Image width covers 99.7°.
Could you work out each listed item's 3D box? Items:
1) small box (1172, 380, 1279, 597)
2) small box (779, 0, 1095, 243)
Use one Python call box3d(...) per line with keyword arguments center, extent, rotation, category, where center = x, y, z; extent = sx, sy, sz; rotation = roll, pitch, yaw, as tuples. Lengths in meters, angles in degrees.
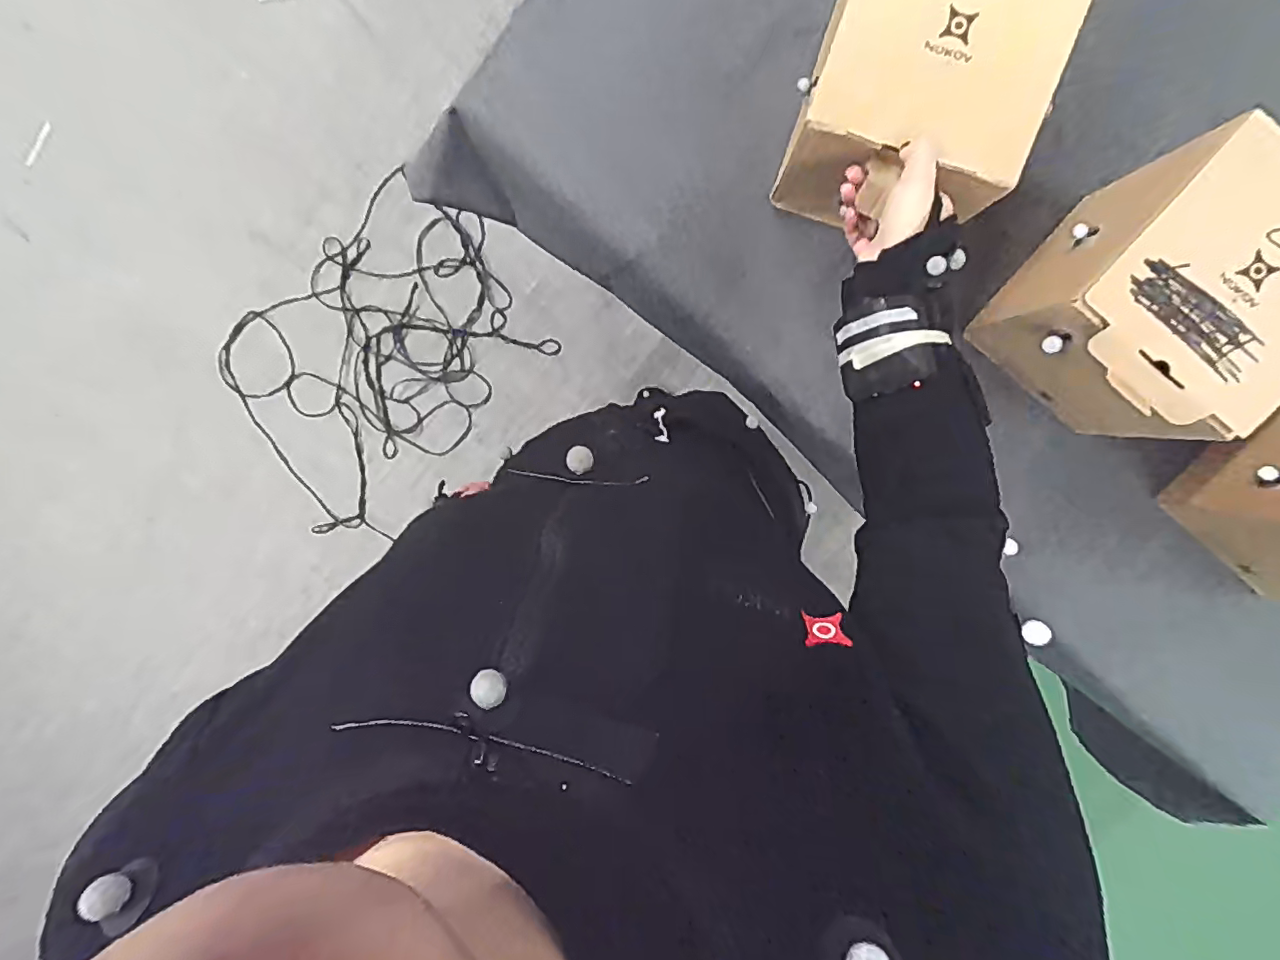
box3d(center=(0.653, 0.019, 0.486), extent=(0.168, 0.176, 0.179), rotation=(40, 98, -3), category="small box")
box3d(center=(0.234, -0.335, 0.467), extent=(0.168, 0.176, 0.179), rotation=(18, 100, 1), category="small box")
